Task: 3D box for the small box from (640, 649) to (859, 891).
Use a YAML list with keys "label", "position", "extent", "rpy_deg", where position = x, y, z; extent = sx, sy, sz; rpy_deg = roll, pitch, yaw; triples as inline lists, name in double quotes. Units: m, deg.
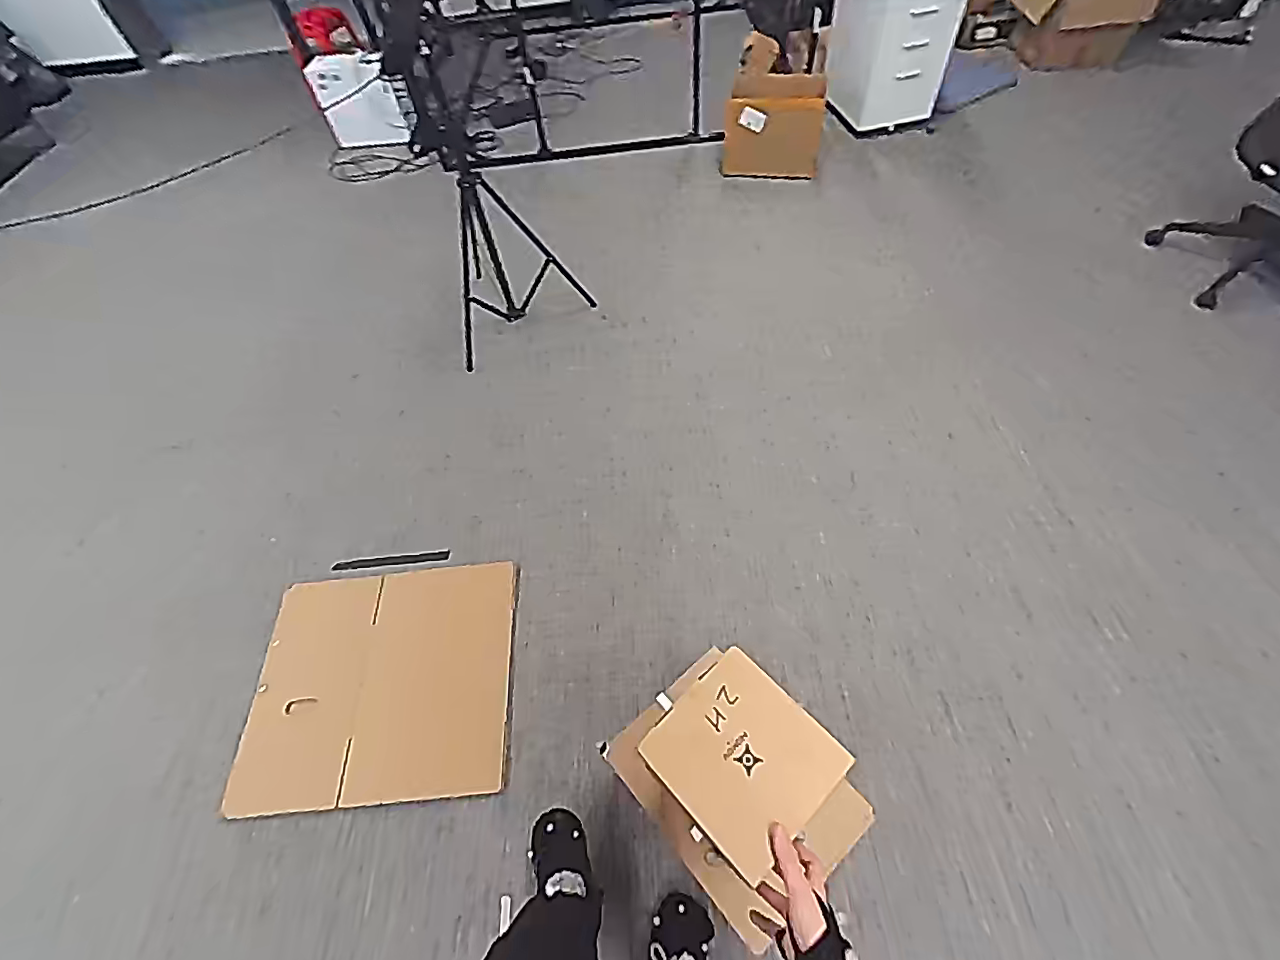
- label: "small box"
  position: [0.123, 0.340, 0.648]
  extent: [0.168, 0.176, 0.179]
  rpy_deg: [-39, 61, -19]
